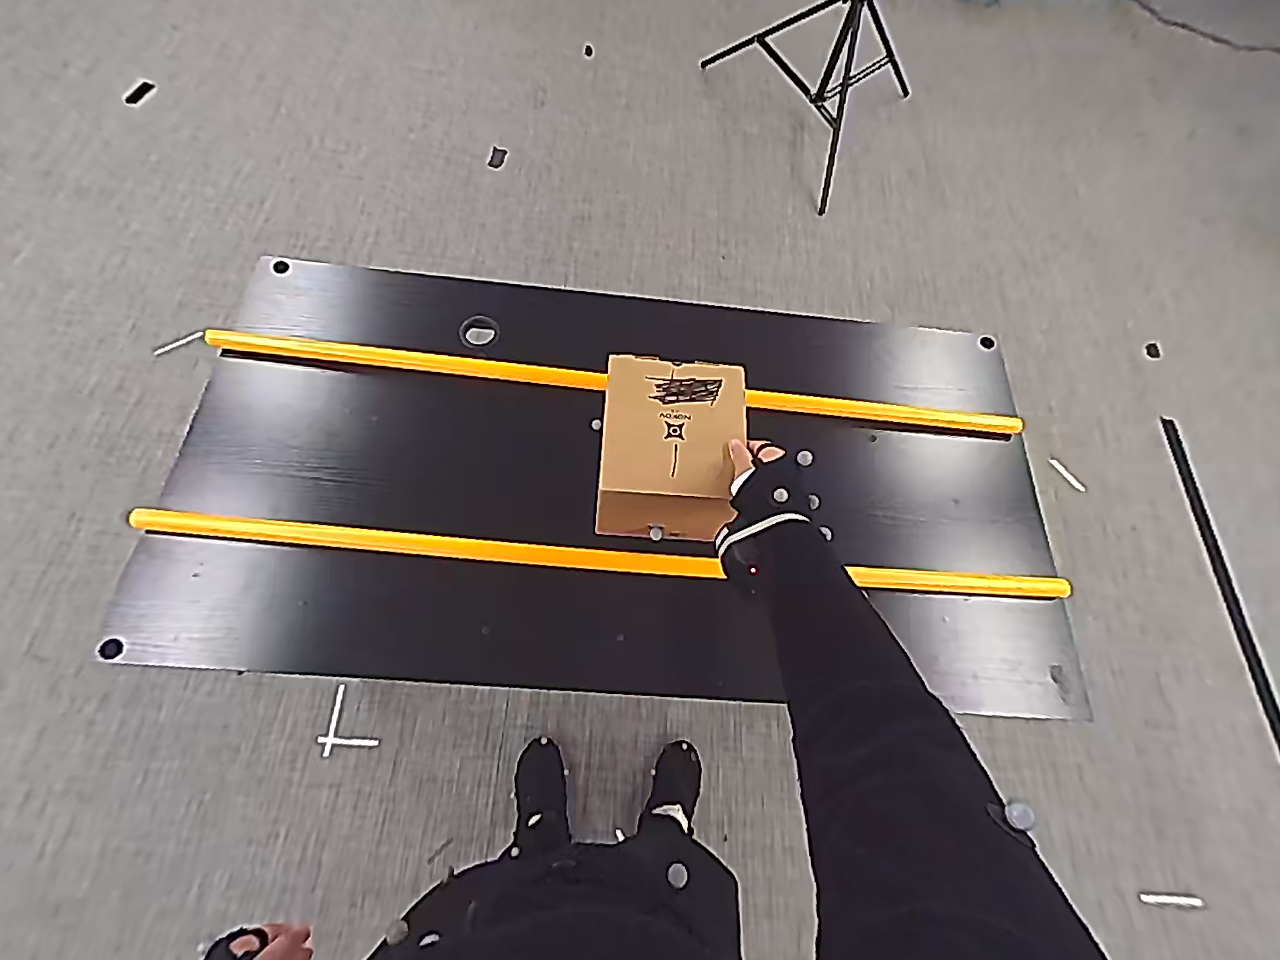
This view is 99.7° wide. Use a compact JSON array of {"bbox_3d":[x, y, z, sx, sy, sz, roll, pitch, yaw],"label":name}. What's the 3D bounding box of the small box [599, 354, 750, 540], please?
[{"bbox_3d":[0.037,-0.034,0.693,0.168,0.176,0.179,4,68,-3],"label":"small box"}]
